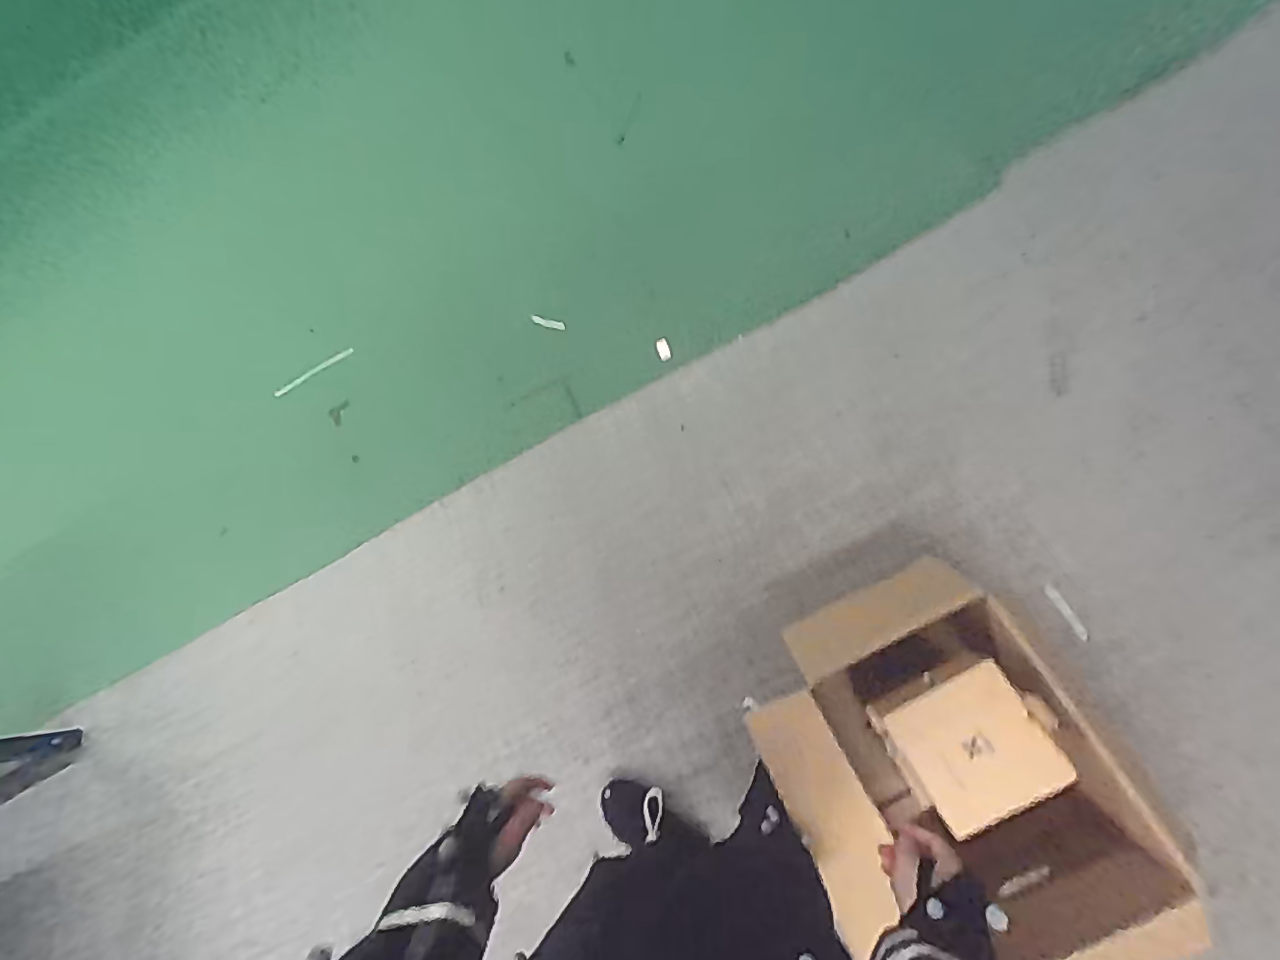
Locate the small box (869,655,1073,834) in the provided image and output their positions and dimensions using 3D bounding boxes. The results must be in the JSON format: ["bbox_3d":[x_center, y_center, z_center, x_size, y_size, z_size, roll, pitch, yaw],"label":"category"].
[{"bbox_3d":[0.467,0.374,0.799,0.179,0.176,0.168,-32,69,7],"label":"small box"}]
